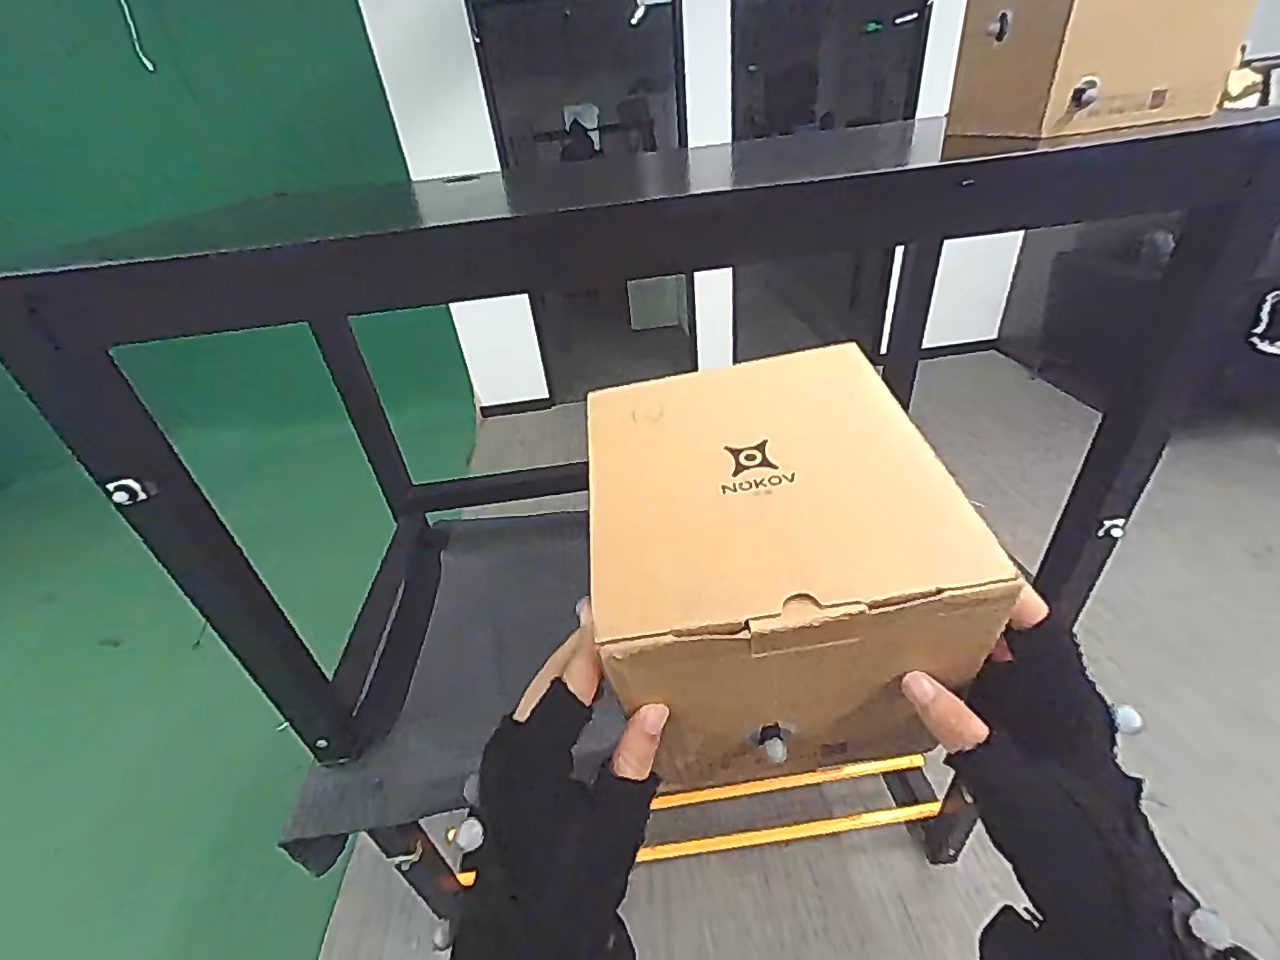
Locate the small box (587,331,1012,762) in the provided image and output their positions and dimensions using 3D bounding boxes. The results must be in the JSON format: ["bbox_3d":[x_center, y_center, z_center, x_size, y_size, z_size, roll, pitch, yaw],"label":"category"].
[{"bbox_3d":[0.066,0.039,0.322,0.168,0.176,0.179,-10,44,3],"label":"small box"}]

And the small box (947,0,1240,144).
[{"bbox_3d":[0.441,-0.445,0.539,0.168,0.176,0.179,-6,32,1],"label":"small box"}]
